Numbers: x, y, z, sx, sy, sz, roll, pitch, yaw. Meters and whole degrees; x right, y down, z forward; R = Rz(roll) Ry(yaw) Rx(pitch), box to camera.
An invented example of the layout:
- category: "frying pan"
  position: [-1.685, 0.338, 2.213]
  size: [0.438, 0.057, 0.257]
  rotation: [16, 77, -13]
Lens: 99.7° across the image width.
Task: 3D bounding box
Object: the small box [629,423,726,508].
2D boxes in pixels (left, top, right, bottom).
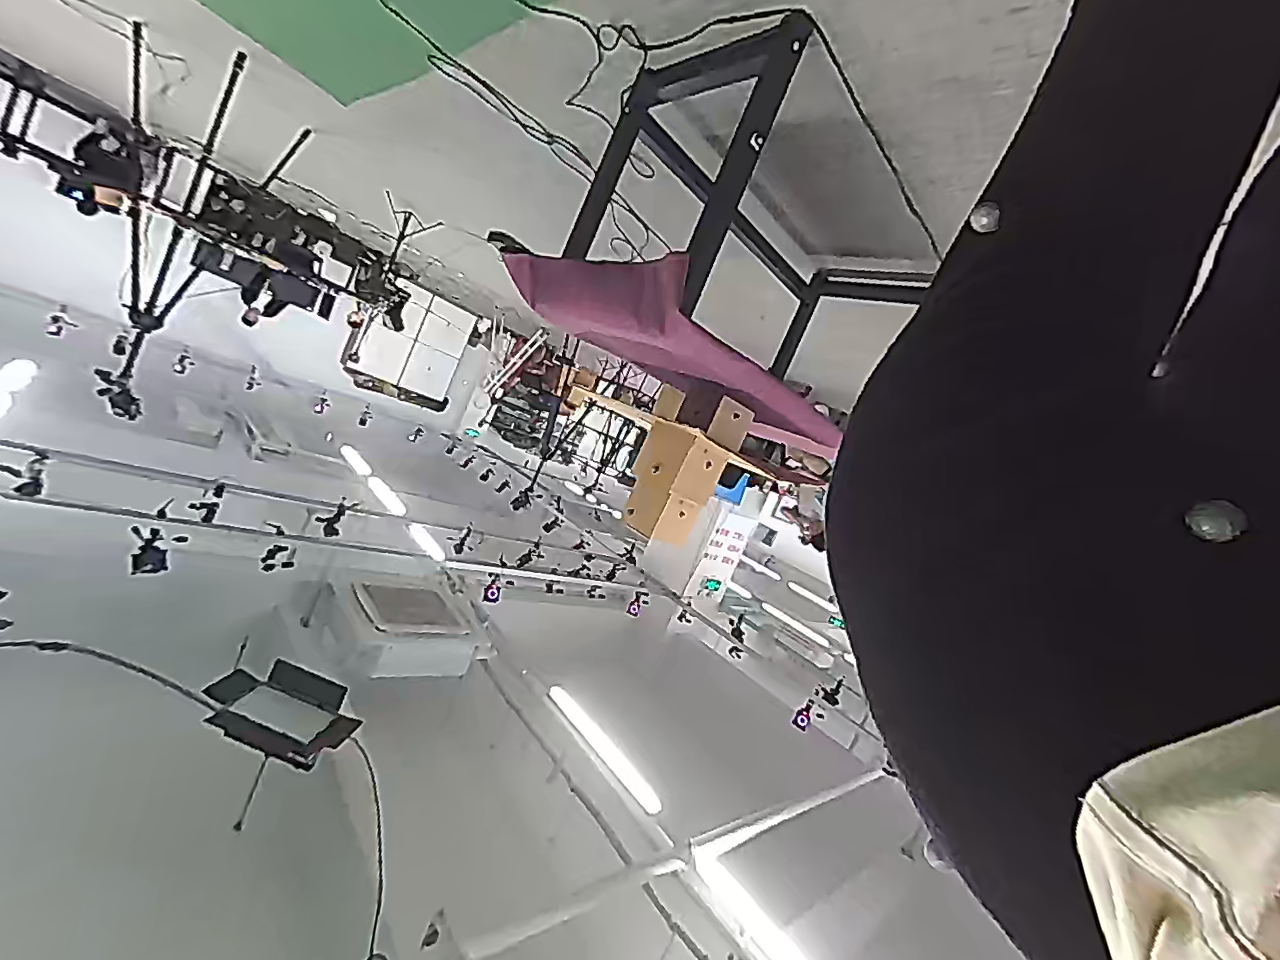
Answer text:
- category: "small box"
  position: [0.108, -0.046, 1.516]
  size: [0.168, 0.176, 0.179]
  rotation: [23, -178, -43]

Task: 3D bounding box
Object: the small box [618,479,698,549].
- category: "small box"
  position: [0.063, 0.107, 1.802]
  size: [0.168, 0.176, 0.179]
  rotation: [24, -178, -43]
